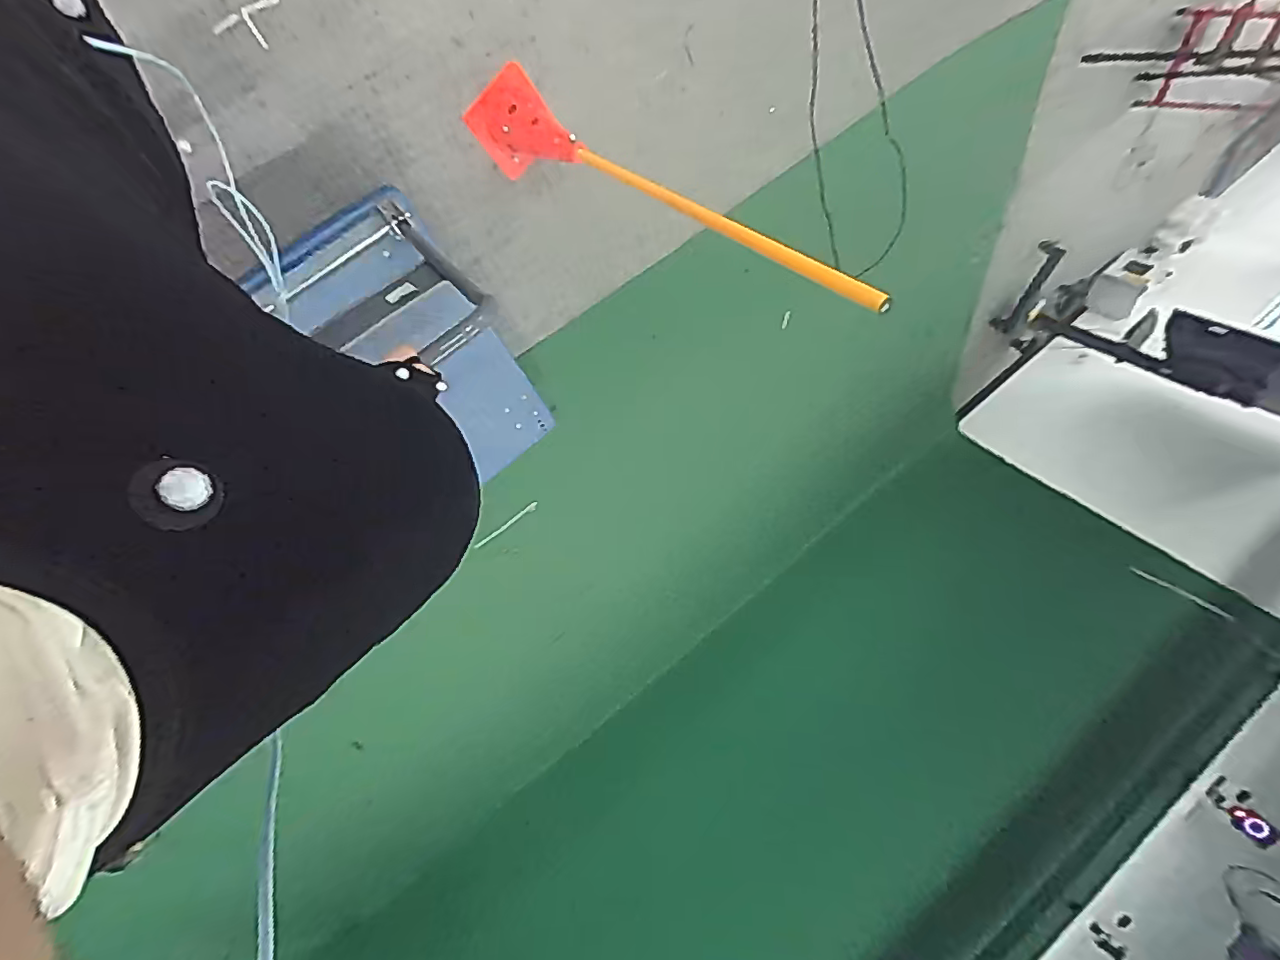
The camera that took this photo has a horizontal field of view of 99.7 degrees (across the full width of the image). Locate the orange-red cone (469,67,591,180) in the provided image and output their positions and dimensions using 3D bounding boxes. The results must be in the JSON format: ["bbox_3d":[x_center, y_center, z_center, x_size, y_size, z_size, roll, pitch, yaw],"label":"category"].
[{"bbox_3d":[-0.226,-0.828,1.313,0.199,0.360,0.198,-48,145,2],"label":"orange-red cone"}]
